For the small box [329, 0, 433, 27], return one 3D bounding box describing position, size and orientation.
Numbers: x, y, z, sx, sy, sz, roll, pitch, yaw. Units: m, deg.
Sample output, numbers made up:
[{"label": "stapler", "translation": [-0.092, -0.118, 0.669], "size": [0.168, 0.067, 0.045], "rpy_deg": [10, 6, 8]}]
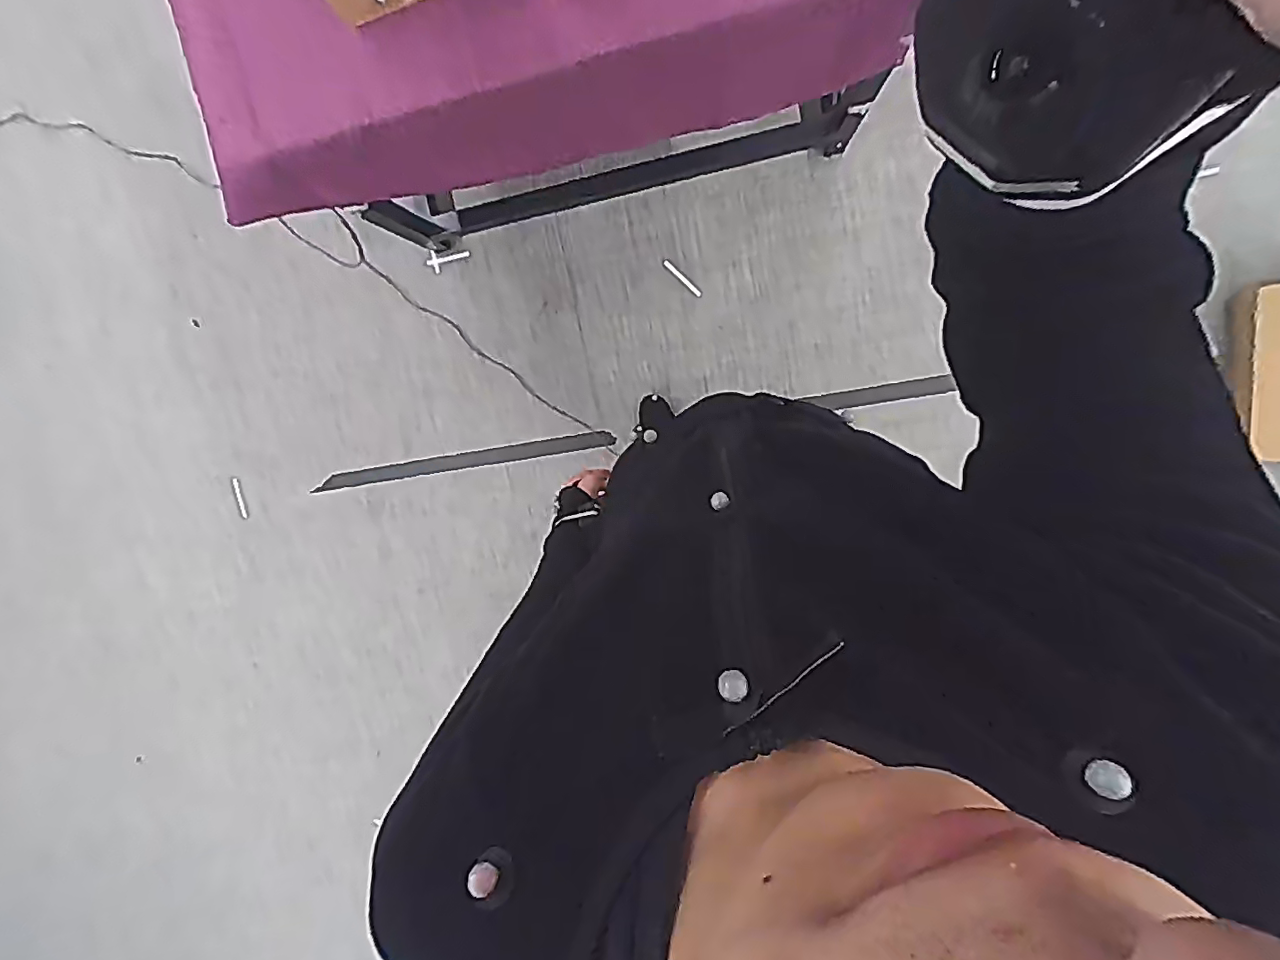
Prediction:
[{"label": "small box", "translation": [-0.399, -0.782, 0.734], "size": [0.168, 0.176, 0.179], "rpy_deg": [-14, 99, 9]}]
